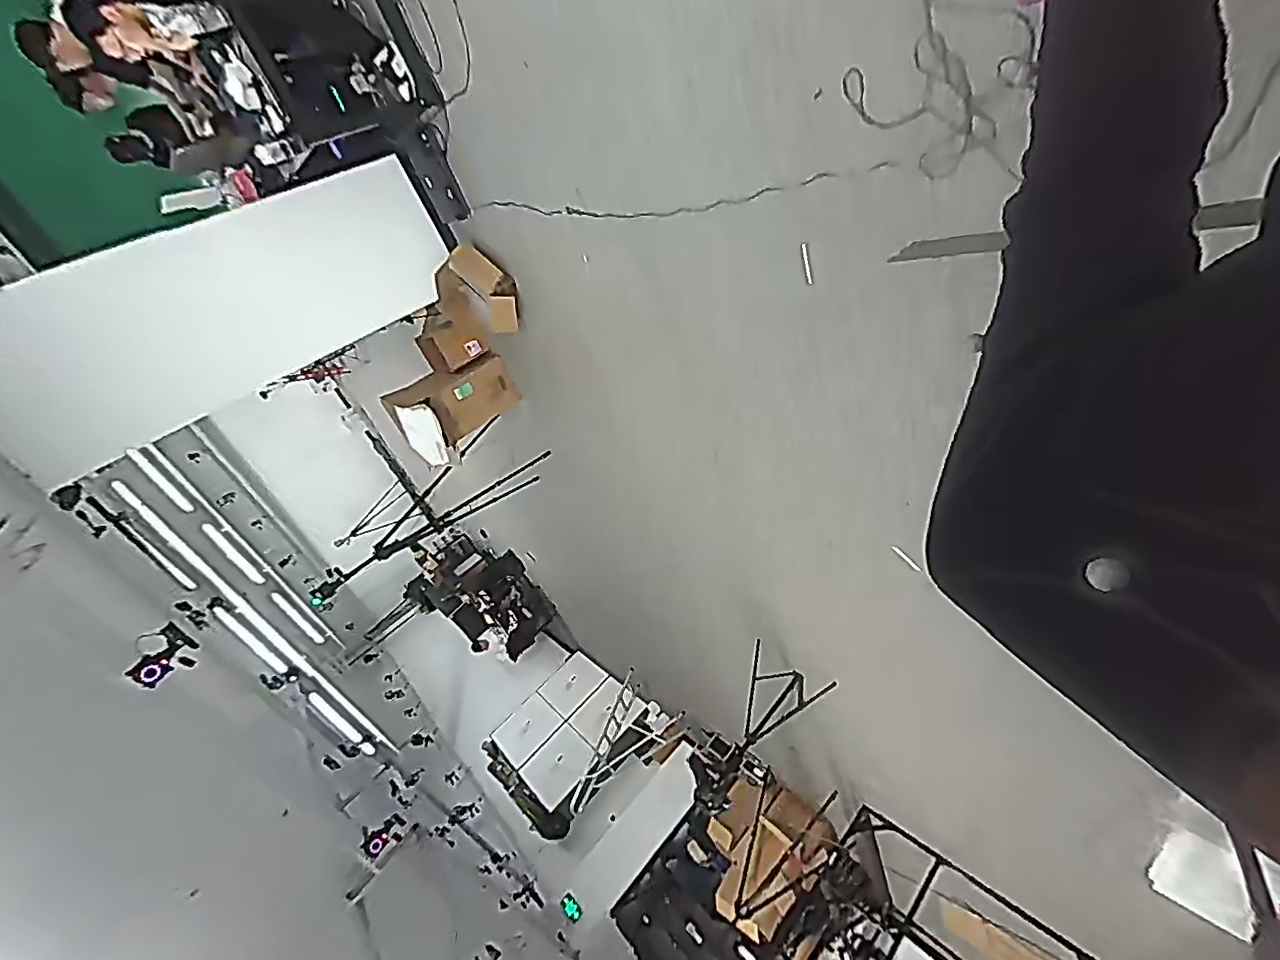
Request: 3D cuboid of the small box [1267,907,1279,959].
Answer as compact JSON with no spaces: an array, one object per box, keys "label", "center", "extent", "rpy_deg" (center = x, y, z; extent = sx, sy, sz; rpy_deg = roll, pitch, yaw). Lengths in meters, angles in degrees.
[{"label":"small box","center":[1.533,1.106,1.198],"extent":[0.179,0.176,0.168],"rpy_deg":[13,136,52]}]
